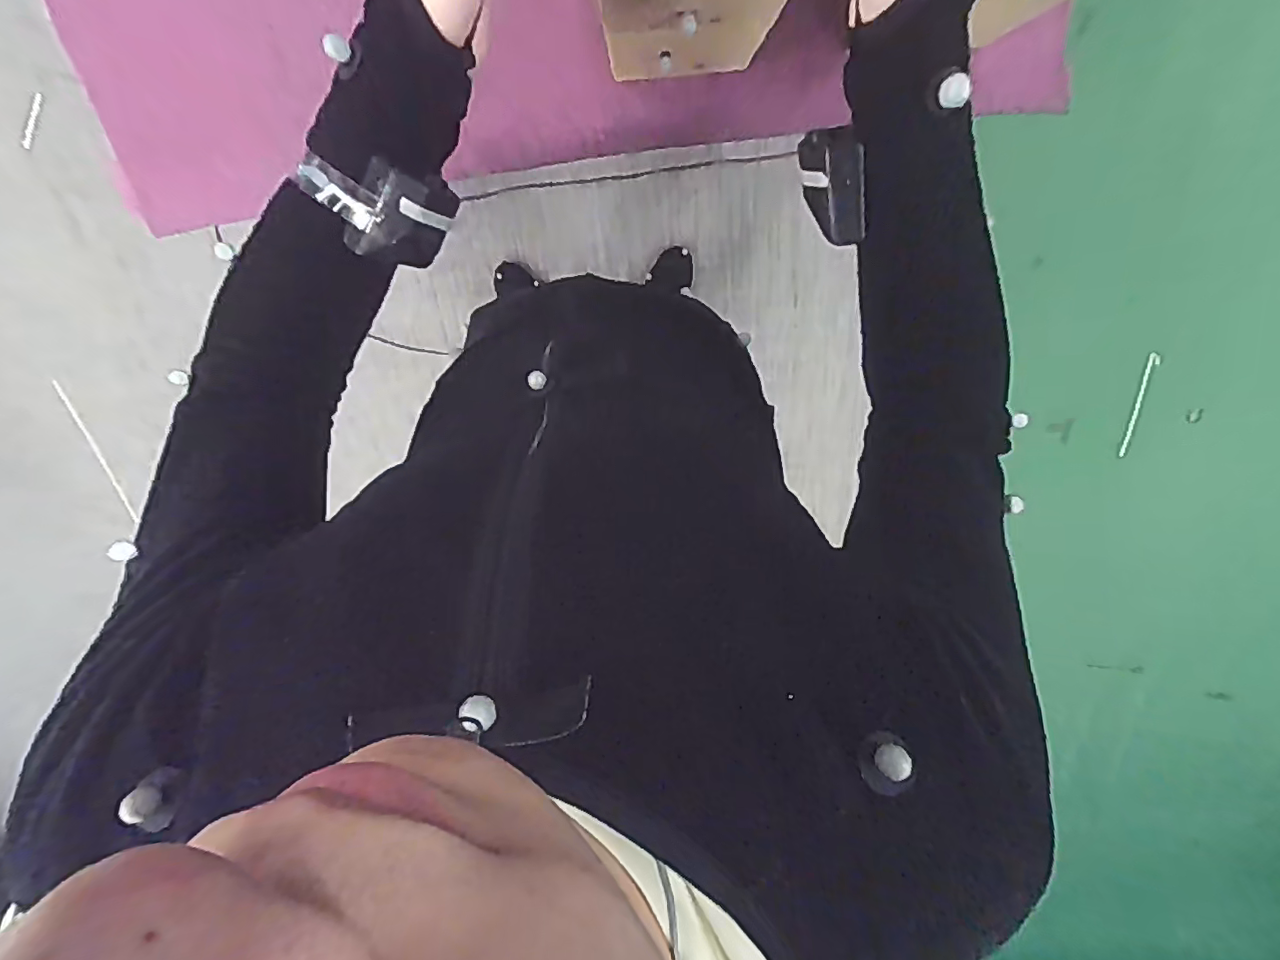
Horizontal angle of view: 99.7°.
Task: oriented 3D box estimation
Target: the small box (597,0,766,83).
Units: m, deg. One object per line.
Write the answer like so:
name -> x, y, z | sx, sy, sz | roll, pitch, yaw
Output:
small box -> 0.040, -0.543, 0.568 | 0.168, 0.176, 0.179 | -4, 113, 3

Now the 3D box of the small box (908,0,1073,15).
small box -> 0.321, -0.491, 0.404 | 0.168, 0.176, 0.179 | -1, 114, 2

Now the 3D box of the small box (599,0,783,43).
small box -> 0.039, -0.478, 0.417 | 0.168, 0.176, 0.179 | -3, 114, 3
